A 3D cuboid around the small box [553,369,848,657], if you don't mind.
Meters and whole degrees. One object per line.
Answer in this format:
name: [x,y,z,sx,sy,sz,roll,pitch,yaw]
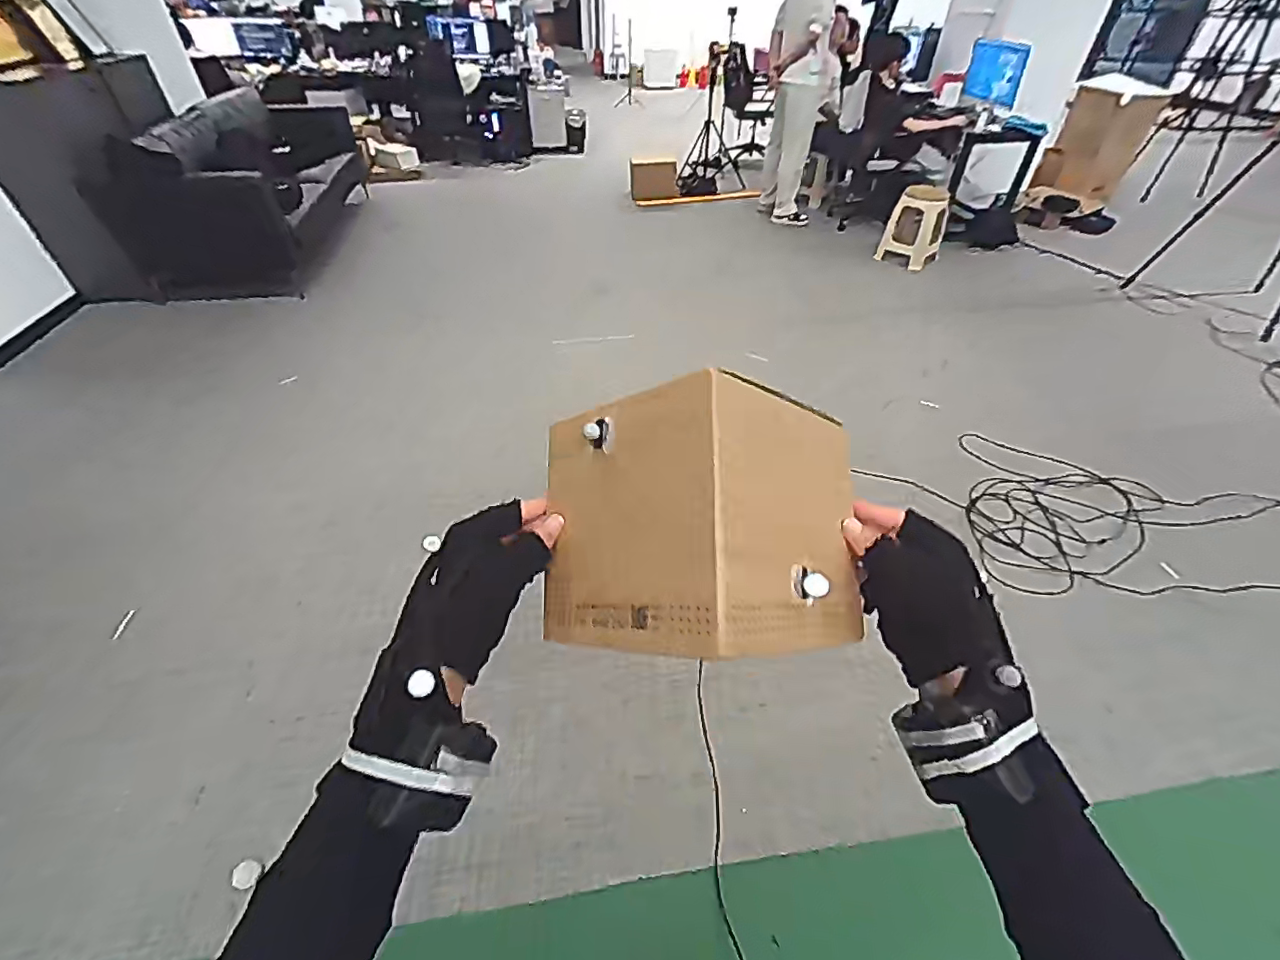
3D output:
small box: [0.046,0.037,0.419,0.179,0.168,0.176,10,74,-42]
